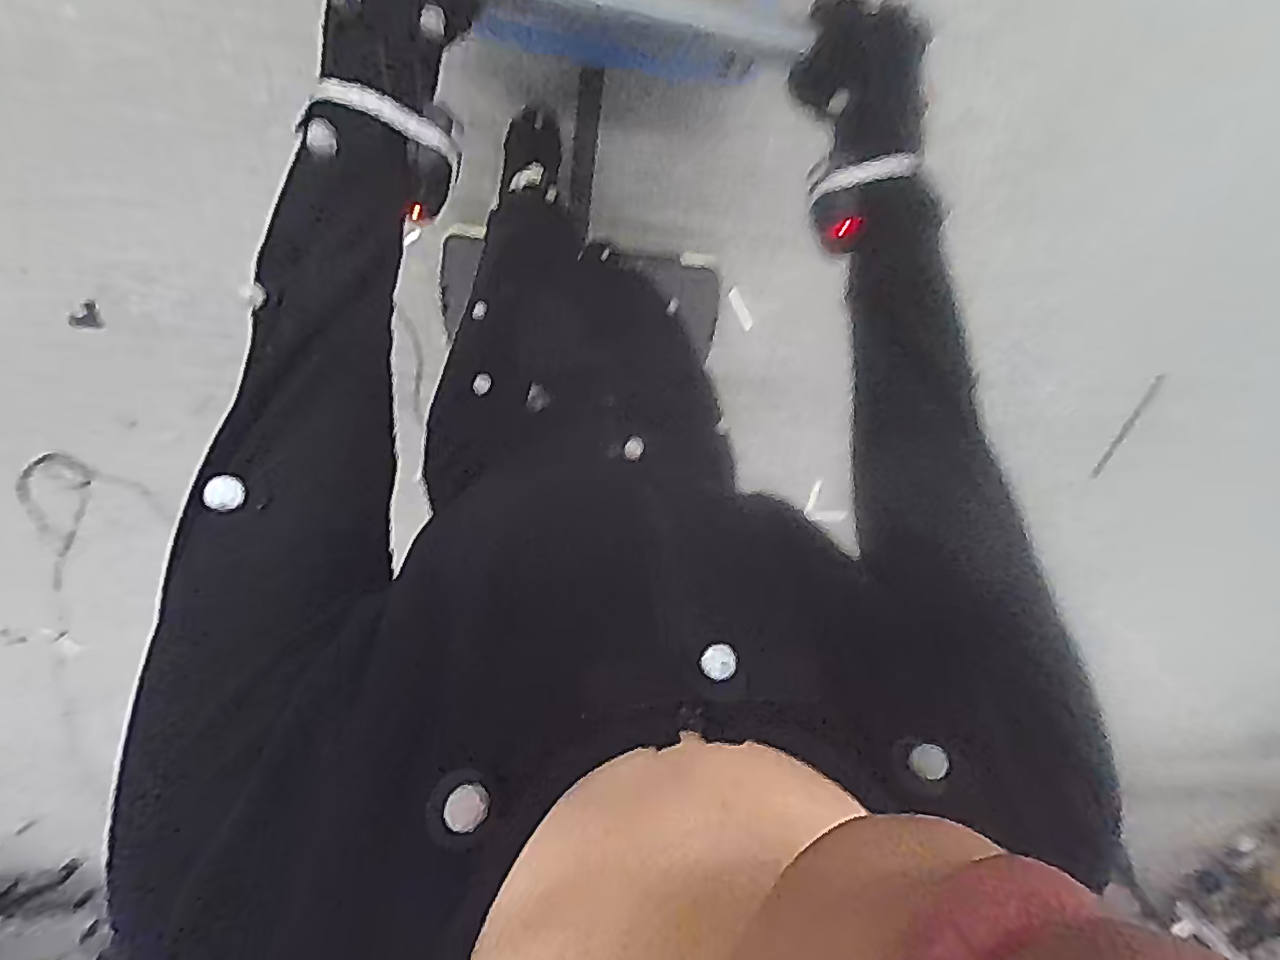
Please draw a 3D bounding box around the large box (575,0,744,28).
[{"bbox_3d":[-0.035,-0.857,0.720,0.408,0.320,0.320,4,123,-11],"label":"large box"}]
